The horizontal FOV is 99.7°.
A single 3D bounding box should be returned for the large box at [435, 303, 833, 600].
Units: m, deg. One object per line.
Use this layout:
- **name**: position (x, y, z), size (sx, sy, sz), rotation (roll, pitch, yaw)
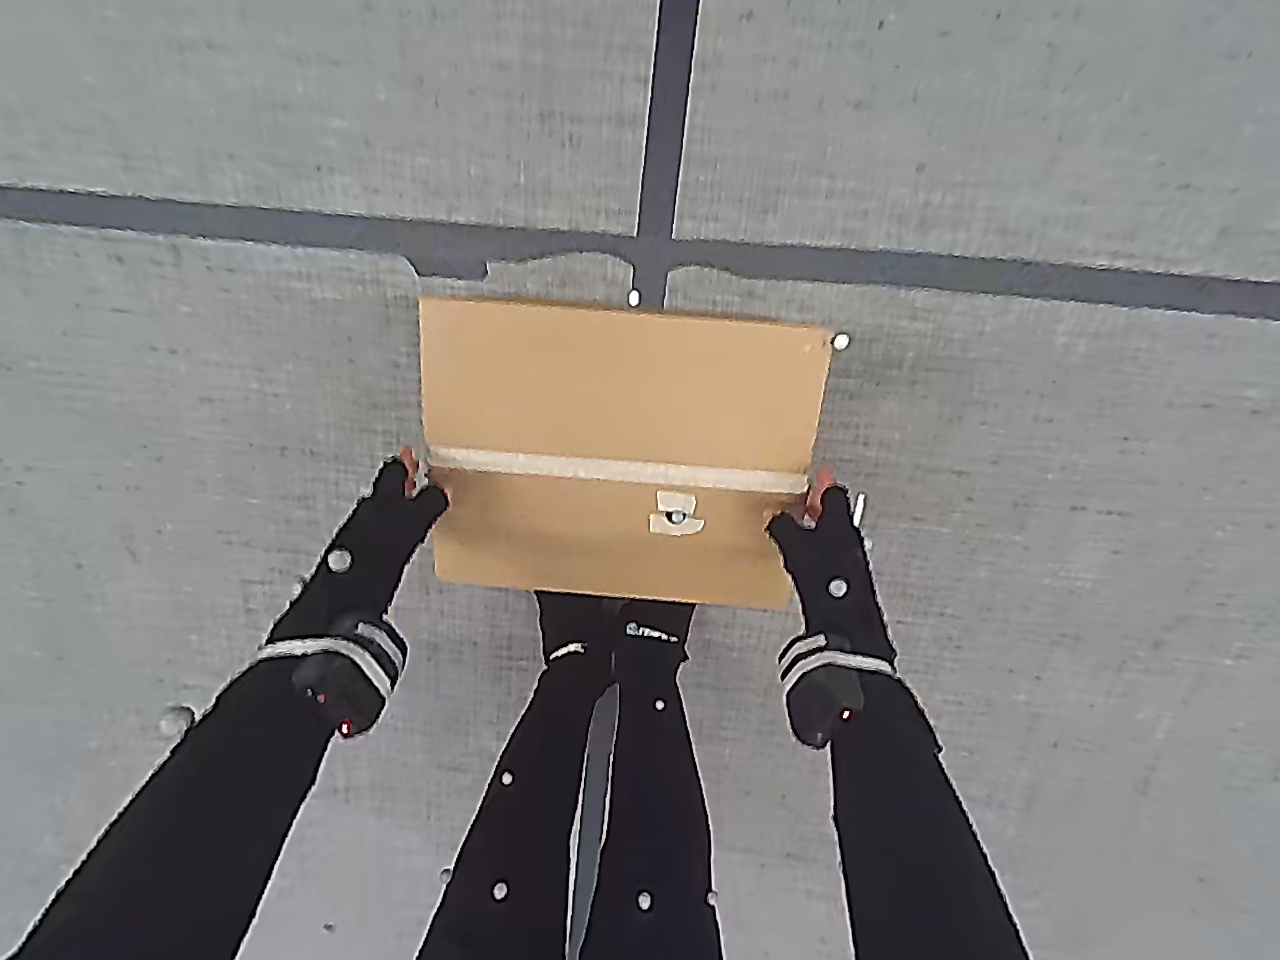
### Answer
- **large box**: position (-0.013, -0.063, 0.722), size (0.408, 0.320, 0.320), rotation (4, 109, 0)
